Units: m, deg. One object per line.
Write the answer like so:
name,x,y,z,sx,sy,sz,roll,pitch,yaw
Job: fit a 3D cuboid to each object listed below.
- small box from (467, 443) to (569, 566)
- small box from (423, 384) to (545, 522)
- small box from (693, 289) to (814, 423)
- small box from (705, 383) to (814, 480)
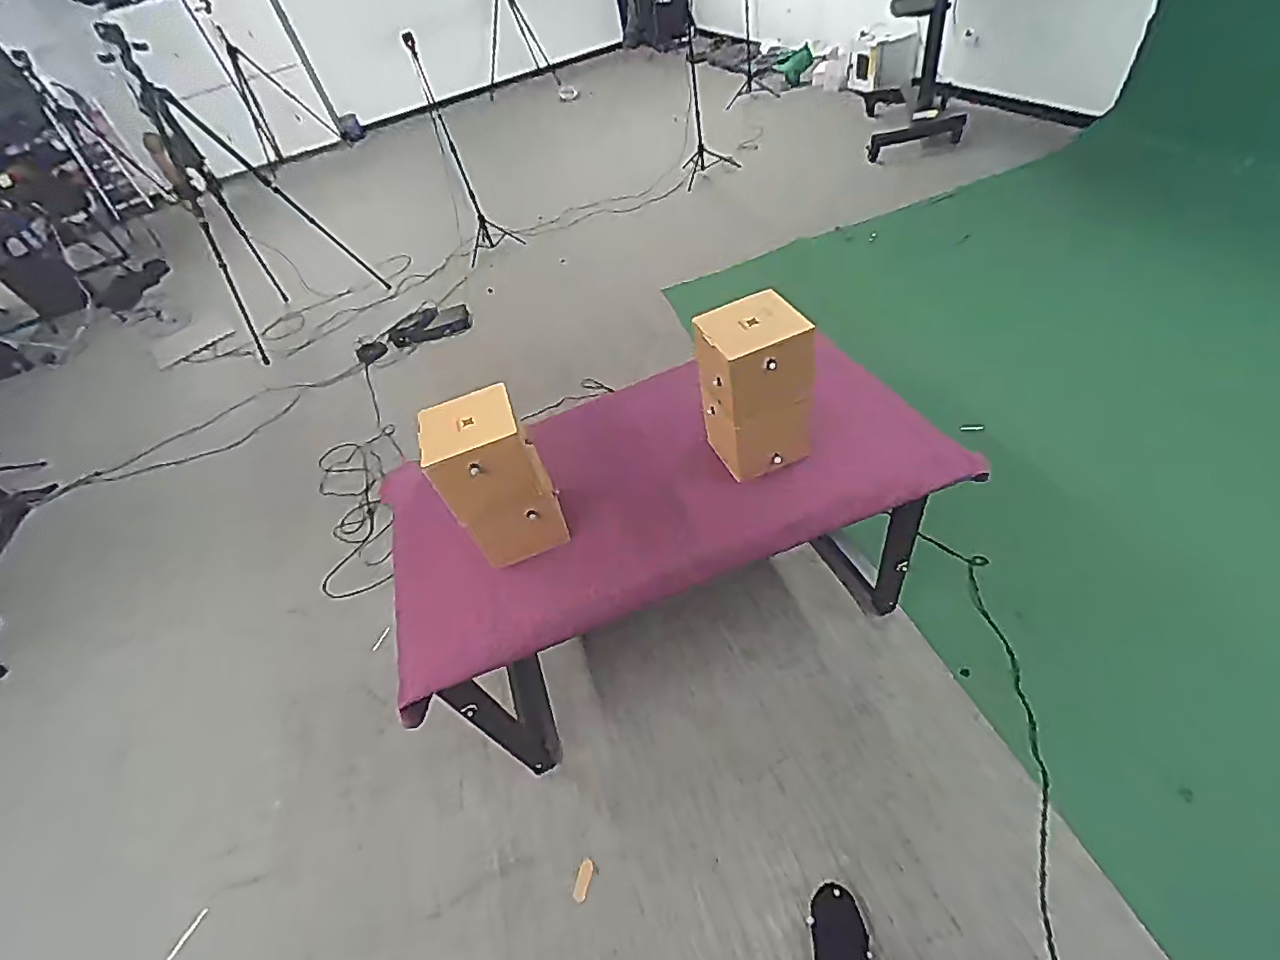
small box,-0.263,0.055,1.165,0.179,0.176,0.168,-21,46,-4
small box,-0.295,-0.049,1.045,0.179,0.176,0.168,-22,47,-4
small box,0.225,-0.240,1.067,0.179,0.176,0.168,-22,48,-4
small box,0.259,-0.132,1.185,0.179,0.176,0.168,-23,47,-5
